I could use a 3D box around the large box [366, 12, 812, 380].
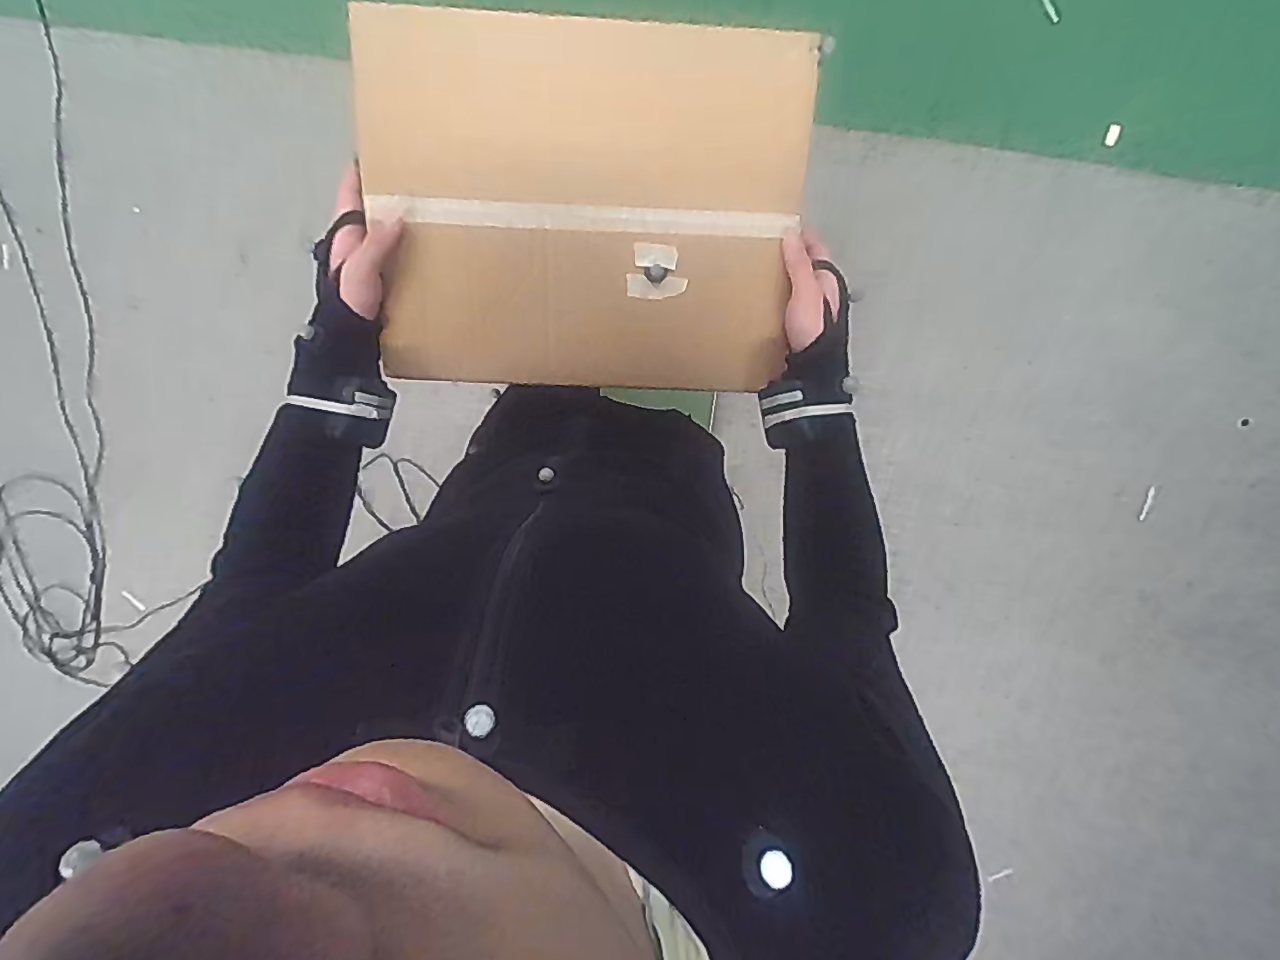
[{"bbox_3d":[-0.054,-0.295,0.661,0.408,0.320,0.320,2,107,-3],"label":"large box"}]
